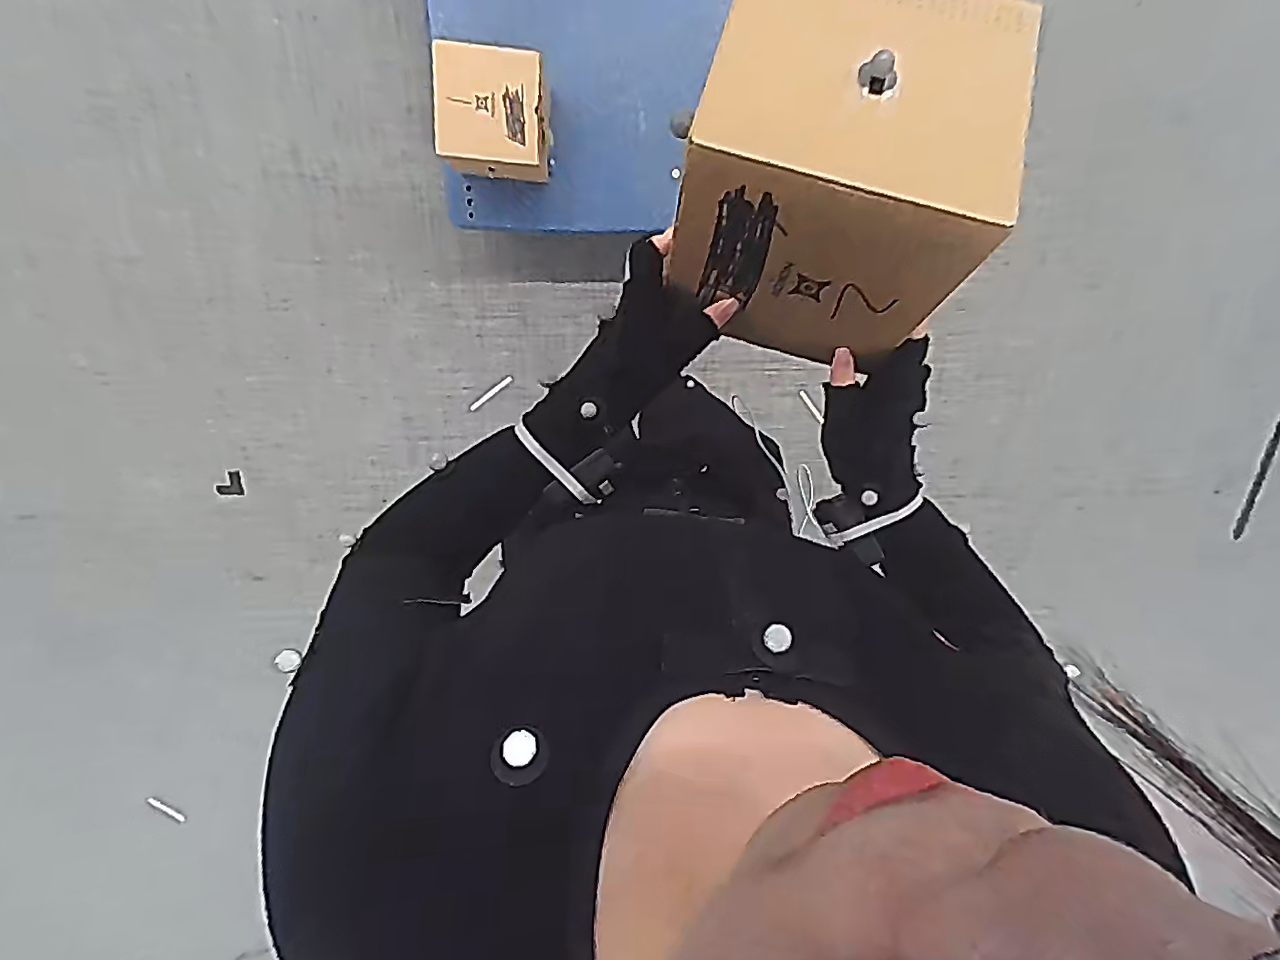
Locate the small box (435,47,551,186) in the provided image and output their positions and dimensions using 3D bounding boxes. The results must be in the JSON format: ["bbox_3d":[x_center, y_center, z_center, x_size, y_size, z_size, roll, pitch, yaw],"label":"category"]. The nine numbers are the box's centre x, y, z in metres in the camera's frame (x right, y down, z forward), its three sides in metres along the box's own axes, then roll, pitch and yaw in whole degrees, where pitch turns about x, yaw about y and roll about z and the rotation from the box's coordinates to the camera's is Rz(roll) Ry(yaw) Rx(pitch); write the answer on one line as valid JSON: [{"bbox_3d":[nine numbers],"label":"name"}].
[{"bbox_3d":[-0.256,-0.643,0.978,0.179,0.176,0.168,4,109,-4],"label":"small box"}]
